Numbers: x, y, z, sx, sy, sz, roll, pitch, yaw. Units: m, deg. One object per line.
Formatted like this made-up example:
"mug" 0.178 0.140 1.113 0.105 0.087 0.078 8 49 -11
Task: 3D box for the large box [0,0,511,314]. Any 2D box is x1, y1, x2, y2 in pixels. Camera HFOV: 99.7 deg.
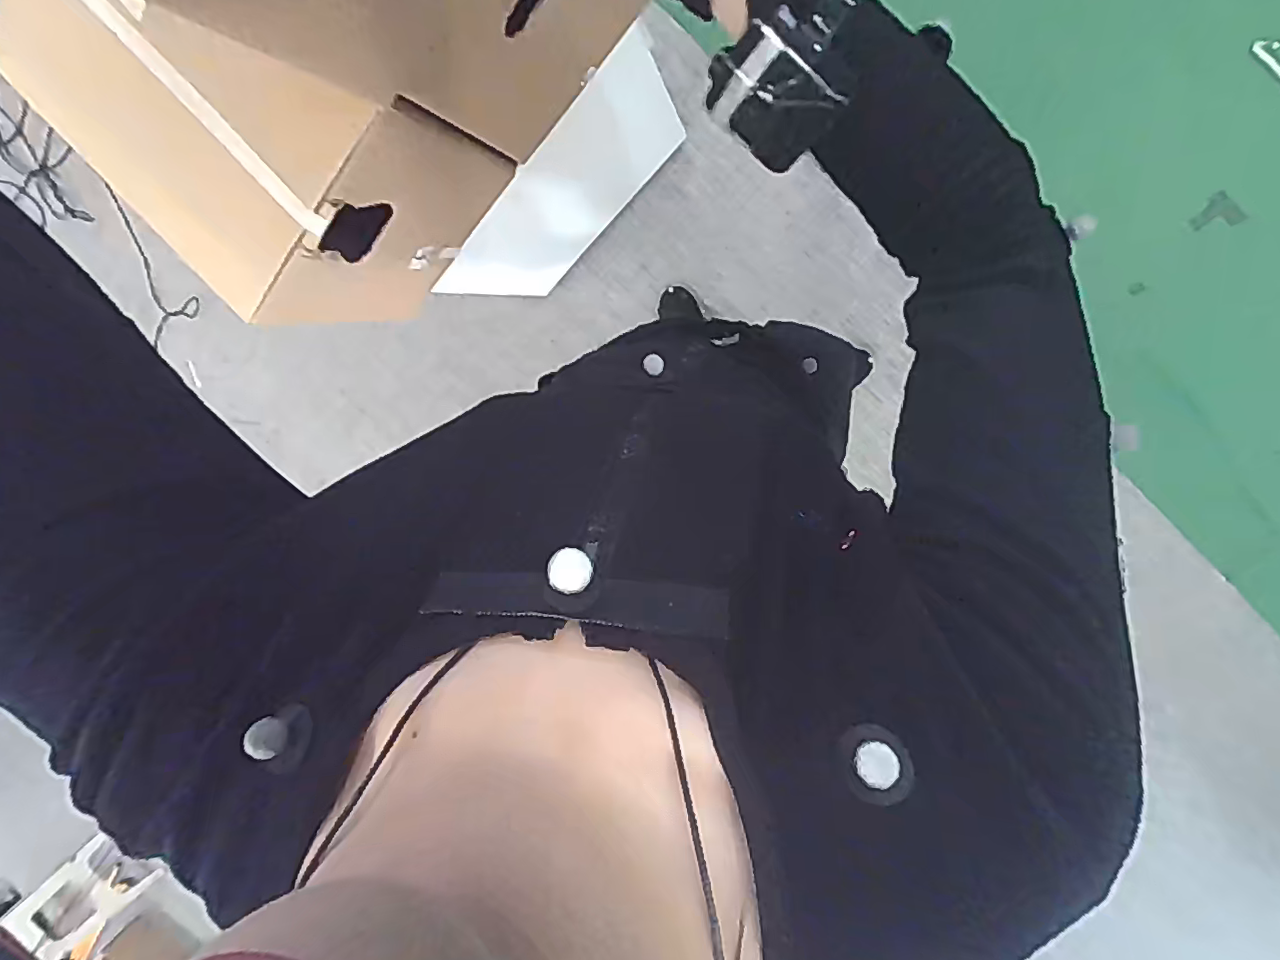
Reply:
"large box" -0.457 -0.474 0.708 0.320 0.320 0.408 -42 94 20
